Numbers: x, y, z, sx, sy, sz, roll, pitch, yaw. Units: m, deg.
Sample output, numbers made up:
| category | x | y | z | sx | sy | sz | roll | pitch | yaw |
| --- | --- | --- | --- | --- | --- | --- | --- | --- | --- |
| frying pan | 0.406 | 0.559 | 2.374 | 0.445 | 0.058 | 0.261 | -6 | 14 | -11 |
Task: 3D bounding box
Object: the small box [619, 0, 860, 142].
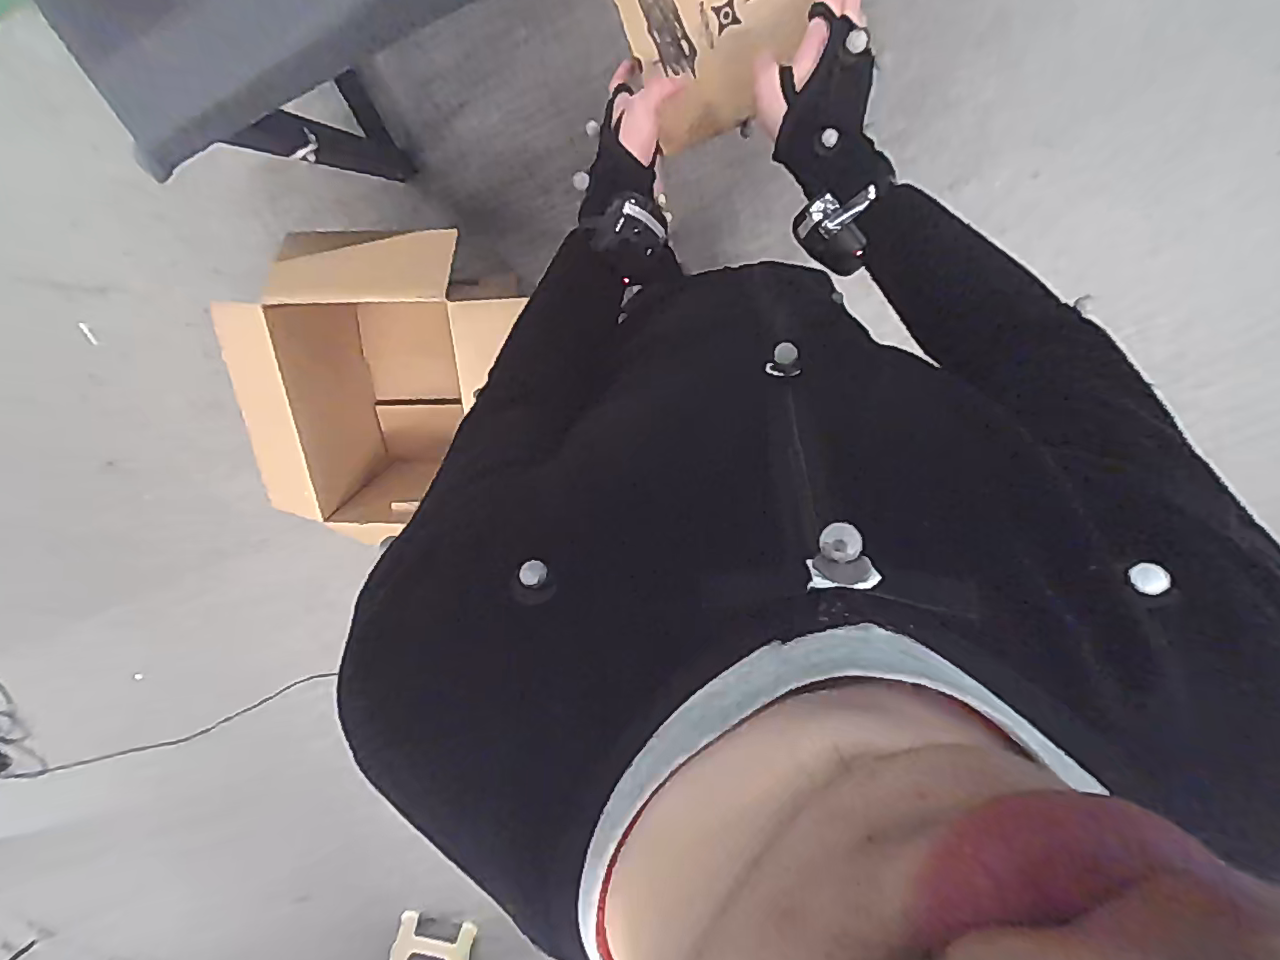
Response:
| category | x | y | z | sx | sy | sz | roll | pitch | yaw |
| --- | --- | --- | --- | --- | --- | --- | --- | --- | --- |
| small box | 0.100 | -0.456 | 0.522 | 0.179 | 0.176 | 0.168 | -4 | 123 | 32 |
